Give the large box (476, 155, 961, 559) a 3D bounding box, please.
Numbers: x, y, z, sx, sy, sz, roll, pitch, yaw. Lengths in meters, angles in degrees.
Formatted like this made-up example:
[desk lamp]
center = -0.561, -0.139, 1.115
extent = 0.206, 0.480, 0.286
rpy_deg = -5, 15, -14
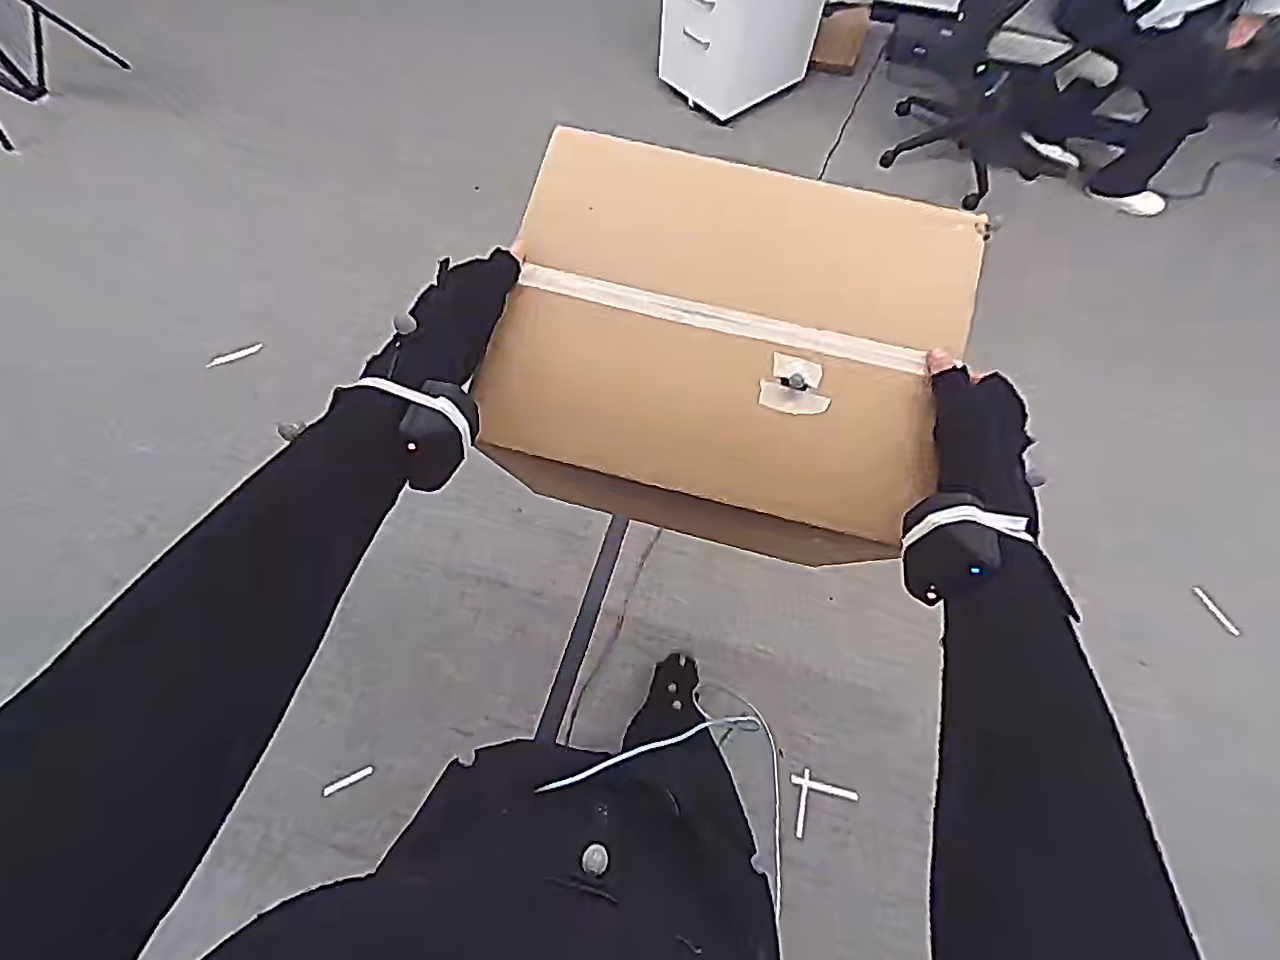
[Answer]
[large box]
center = 0.078, -0.105, 0.642
extent = 0.408, 0.320, 0.320
rpy_deg = 14, 81, 2
